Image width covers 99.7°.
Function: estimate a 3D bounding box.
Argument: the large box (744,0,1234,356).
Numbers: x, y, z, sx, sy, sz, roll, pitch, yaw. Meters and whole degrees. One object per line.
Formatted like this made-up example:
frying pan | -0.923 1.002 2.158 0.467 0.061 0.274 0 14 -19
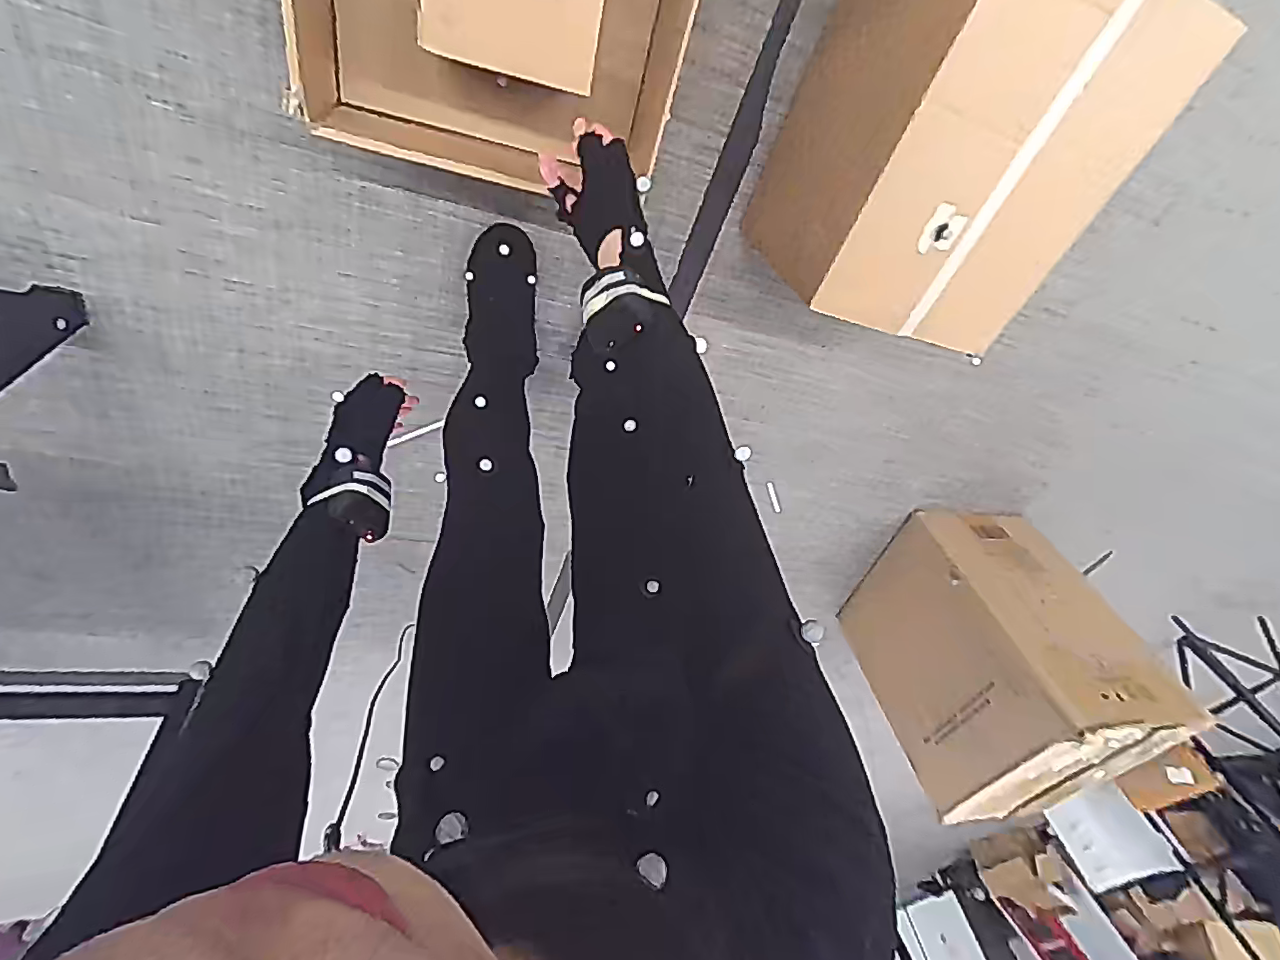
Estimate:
large box | 0.398 -0.446 0.739 0.320 0.320 0.408 8 130 -19
